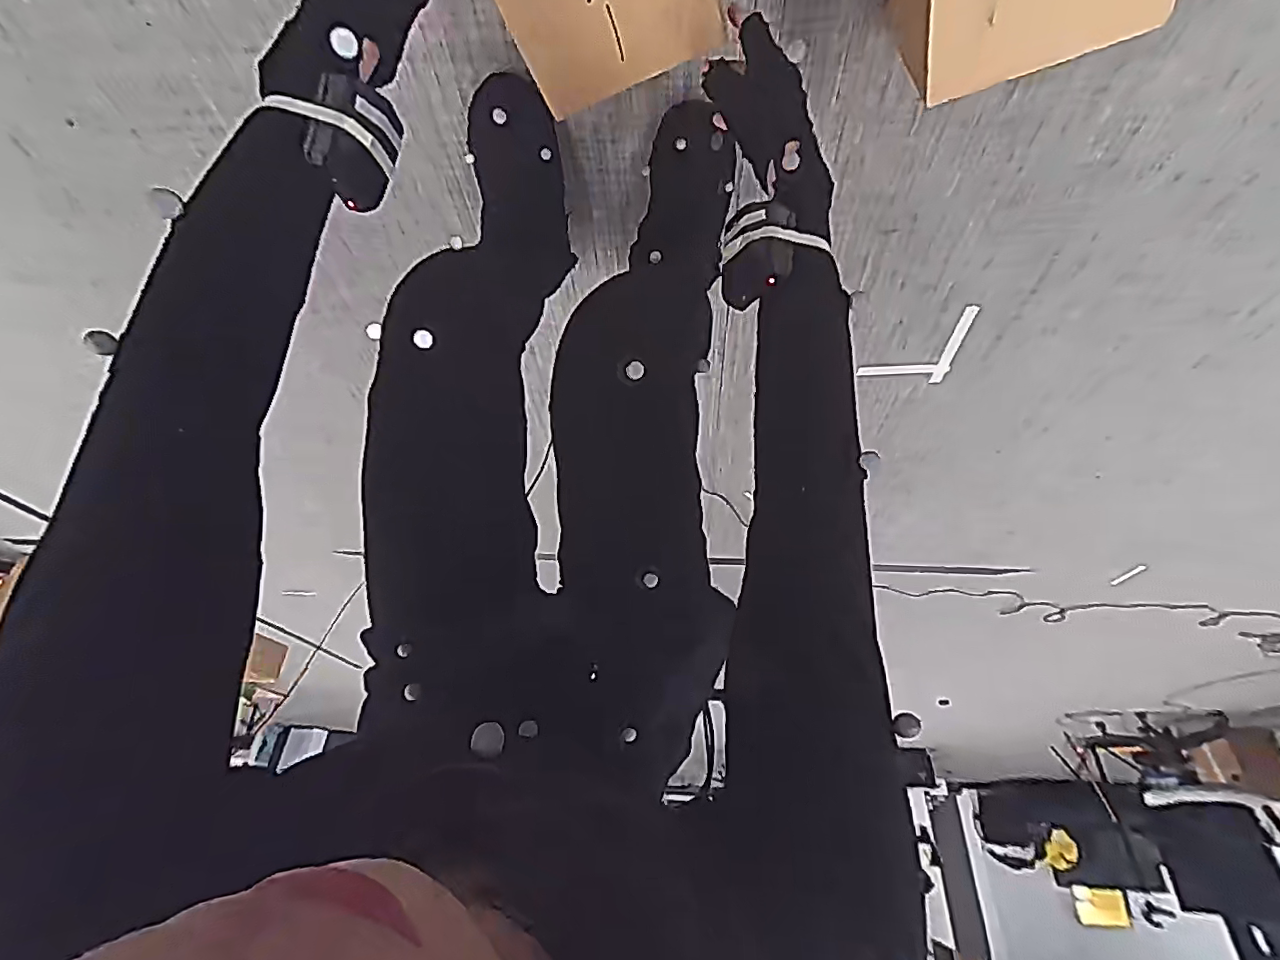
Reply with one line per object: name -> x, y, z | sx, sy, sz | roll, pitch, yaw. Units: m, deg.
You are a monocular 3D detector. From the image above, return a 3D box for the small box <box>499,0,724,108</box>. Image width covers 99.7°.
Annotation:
small box -> -0.035, -0.466, 0.447 | 0.168, 0.176, 0.179 | -10, 145, 21

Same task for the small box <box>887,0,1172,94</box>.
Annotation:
small box -> 0.305, -0.461, 0.427 | 0.179, 0.176, 0.168 | -9, 144, 20
